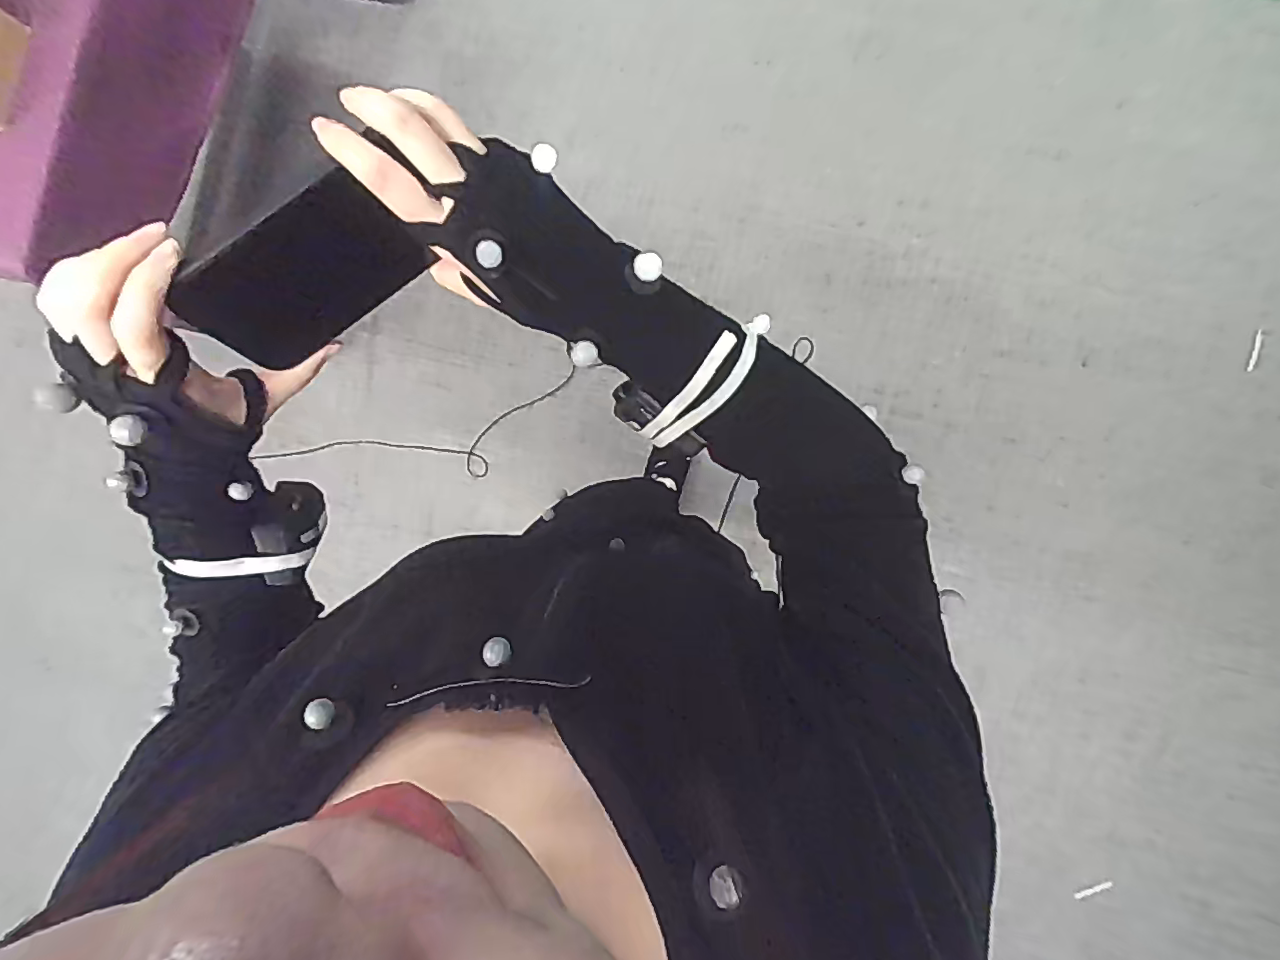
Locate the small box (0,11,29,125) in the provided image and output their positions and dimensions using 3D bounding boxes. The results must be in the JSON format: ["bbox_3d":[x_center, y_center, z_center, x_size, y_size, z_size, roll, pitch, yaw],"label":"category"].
[{"bbox_3d":[-1.100,-0.679,0.815,0.168,0.176,0.179,16,90,6],"label":"small box"}]
